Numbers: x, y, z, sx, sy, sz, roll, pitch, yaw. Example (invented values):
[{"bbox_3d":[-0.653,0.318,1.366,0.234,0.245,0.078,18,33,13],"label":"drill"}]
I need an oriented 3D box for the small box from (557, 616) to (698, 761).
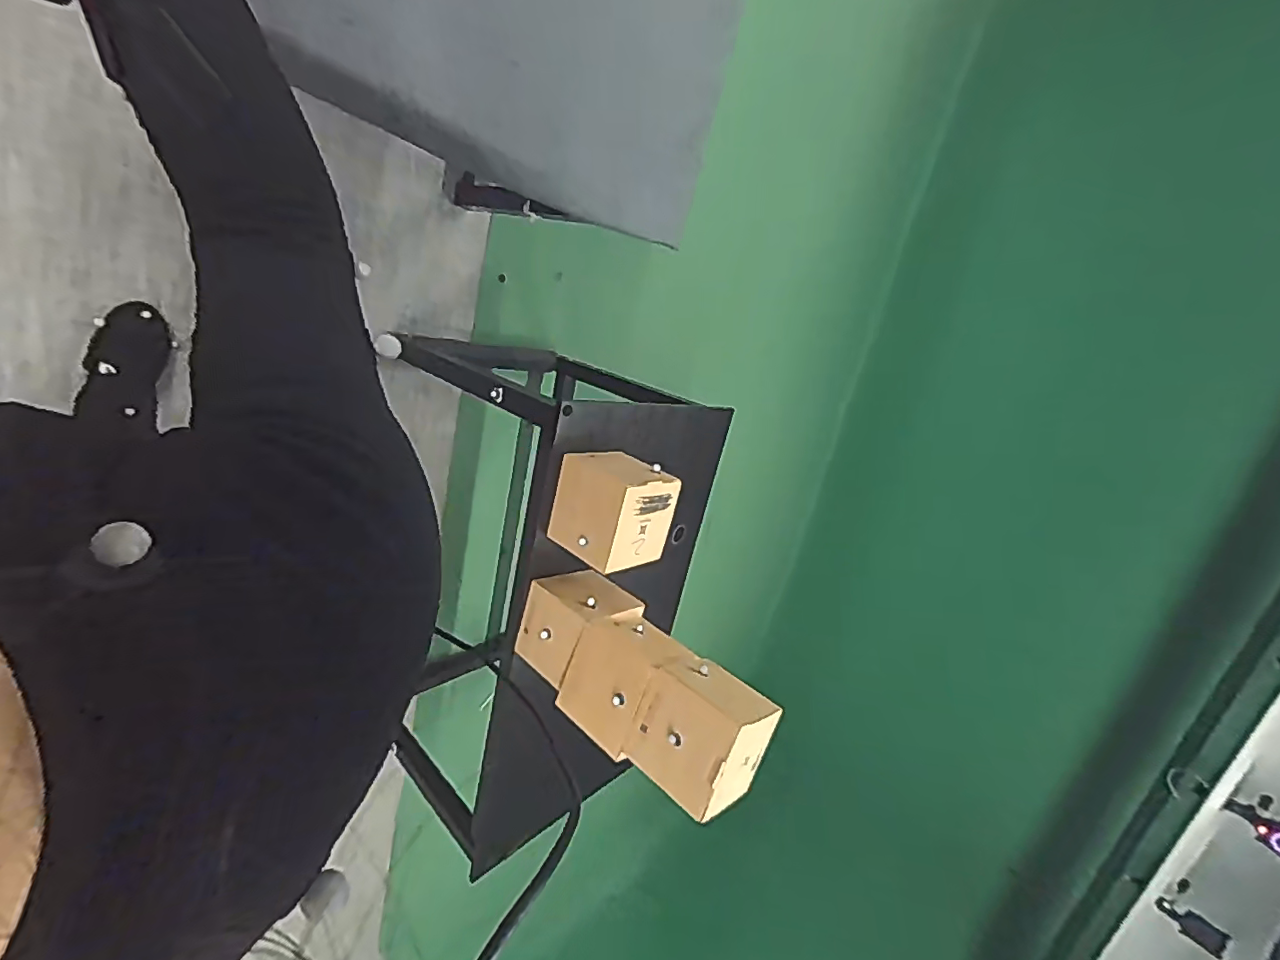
[{"bbox_3d":[-0.028,0.374,1.006,0.168,0.176,0.179,13,101,-53],"label":"small box"}]

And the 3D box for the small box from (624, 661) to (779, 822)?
[{"bbox_3d":[0.101,0.428,0.920,0.179,0.176,0.168,18,96,-53],"label":"small box"}]

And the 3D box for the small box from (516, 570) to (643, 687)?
[{"bbox_3d":[-0.128,0.302,1.113,0.179,0.176,0.168,0,112,-51],"label":"small box"}]
